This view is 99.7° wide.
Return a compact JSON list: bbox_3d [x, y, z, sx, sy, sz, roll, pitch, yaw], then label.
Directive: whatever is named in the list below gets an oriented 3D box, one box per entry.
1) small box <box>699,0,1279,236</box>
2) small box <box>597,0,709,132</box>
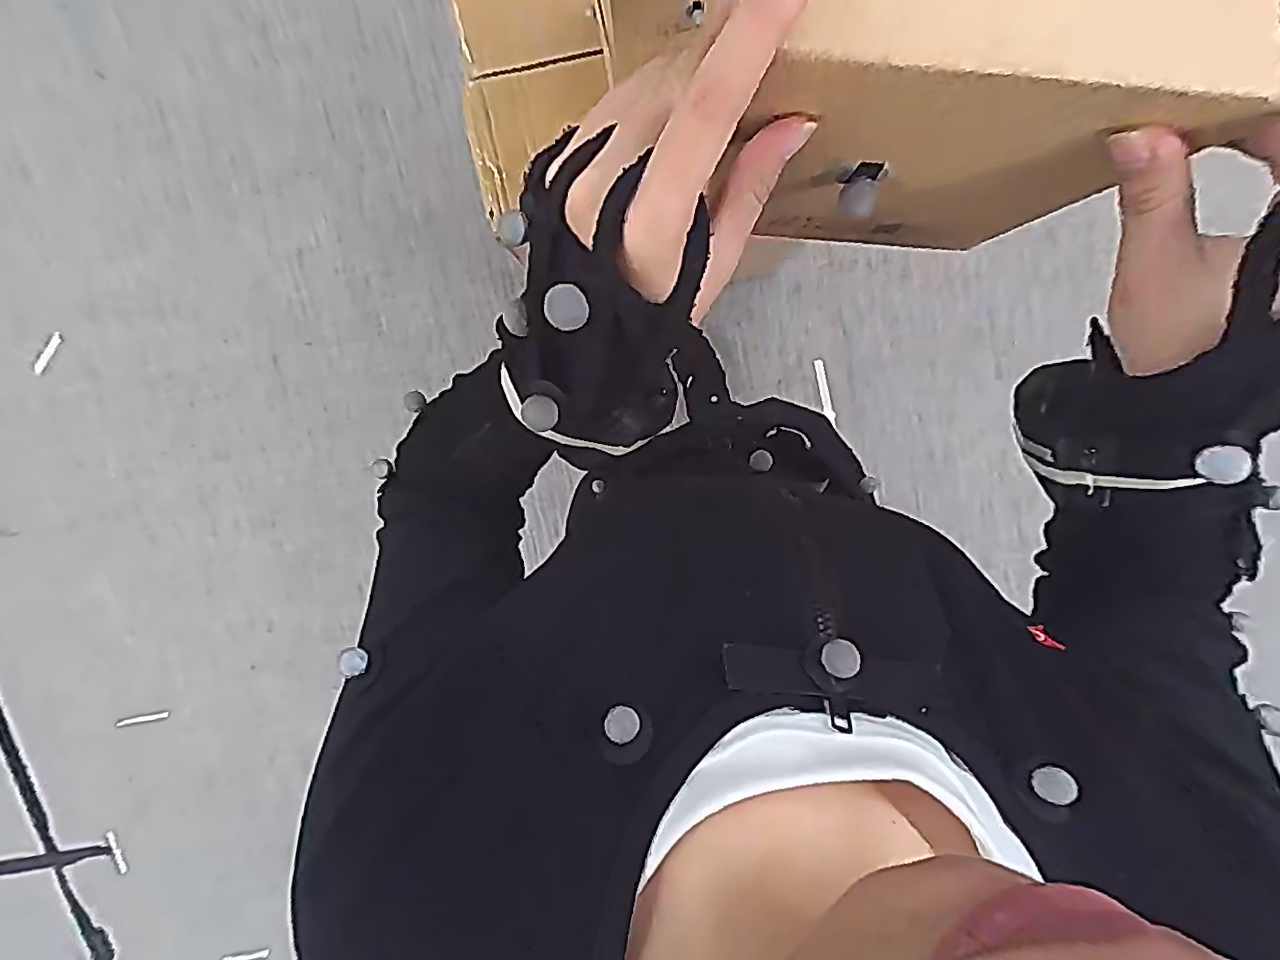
[{"bbox_3d":[0.118,-0.213,0.215,0.168,0.176,0.179,3,97,-1],"label":"small box"},{"bbox_3d":[0.043,-0.521,0.599,0.179,0.176,0.168,-10,98,2],"label":"small box"}]
